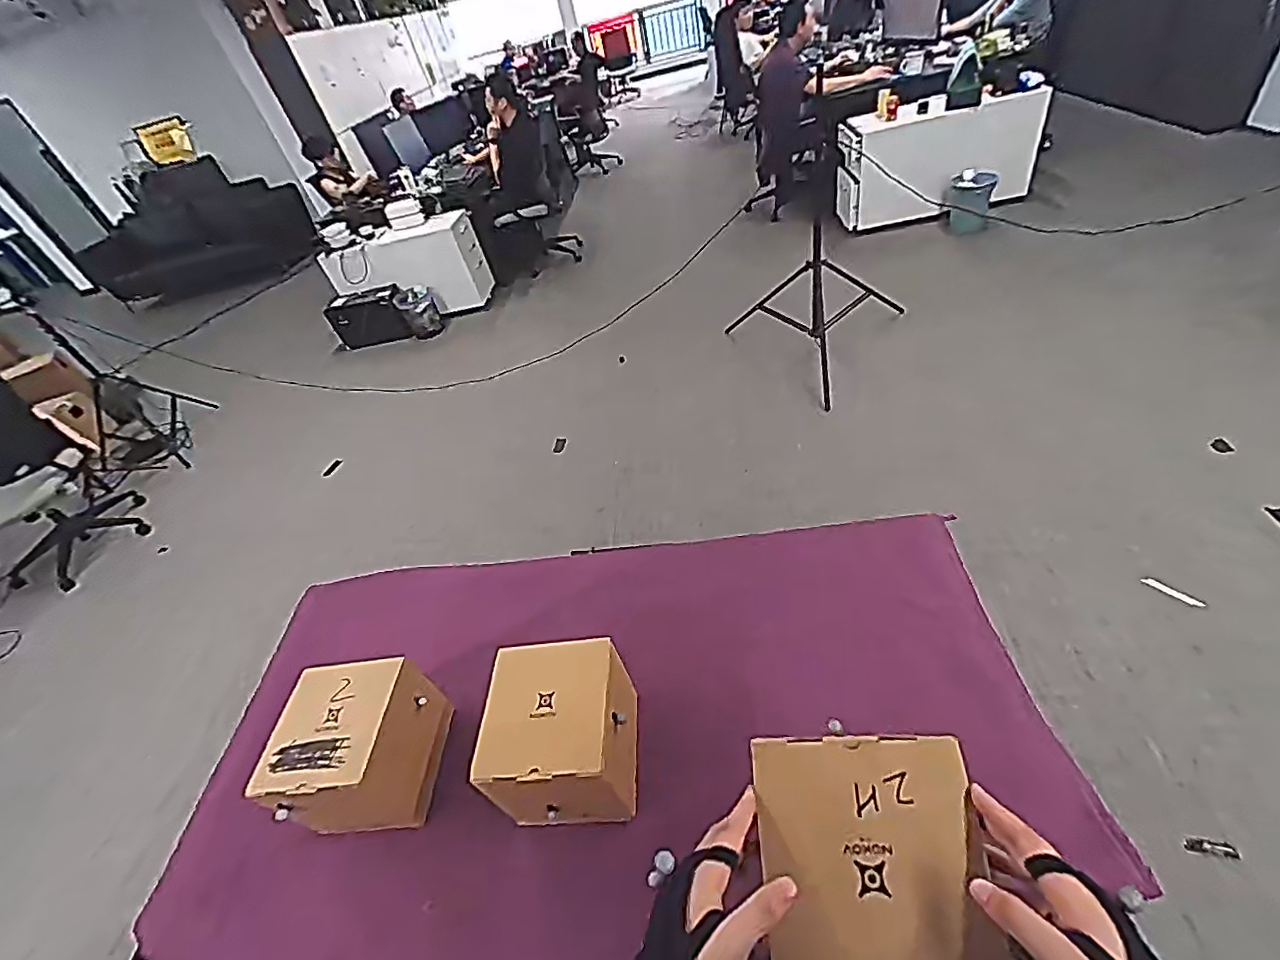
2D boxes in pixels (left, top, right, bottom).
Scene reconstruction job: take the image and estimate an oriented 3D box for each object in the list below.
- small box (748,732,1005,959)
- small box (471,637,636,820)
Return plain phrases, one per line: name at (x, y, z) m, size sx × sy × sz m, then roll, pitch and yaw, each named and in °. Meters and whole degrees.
small box at (0.190, 0.323, 0.481) m, size 0.168 × 0.176 × 0.179 m, roll -6°, pitch 64°, yaw 10°
small box at (-0.104, 0.341, 0.742) m, size 0.168 × 0.176 × 0.179 m, roll -8°, pitch 43°, yaw 9°
